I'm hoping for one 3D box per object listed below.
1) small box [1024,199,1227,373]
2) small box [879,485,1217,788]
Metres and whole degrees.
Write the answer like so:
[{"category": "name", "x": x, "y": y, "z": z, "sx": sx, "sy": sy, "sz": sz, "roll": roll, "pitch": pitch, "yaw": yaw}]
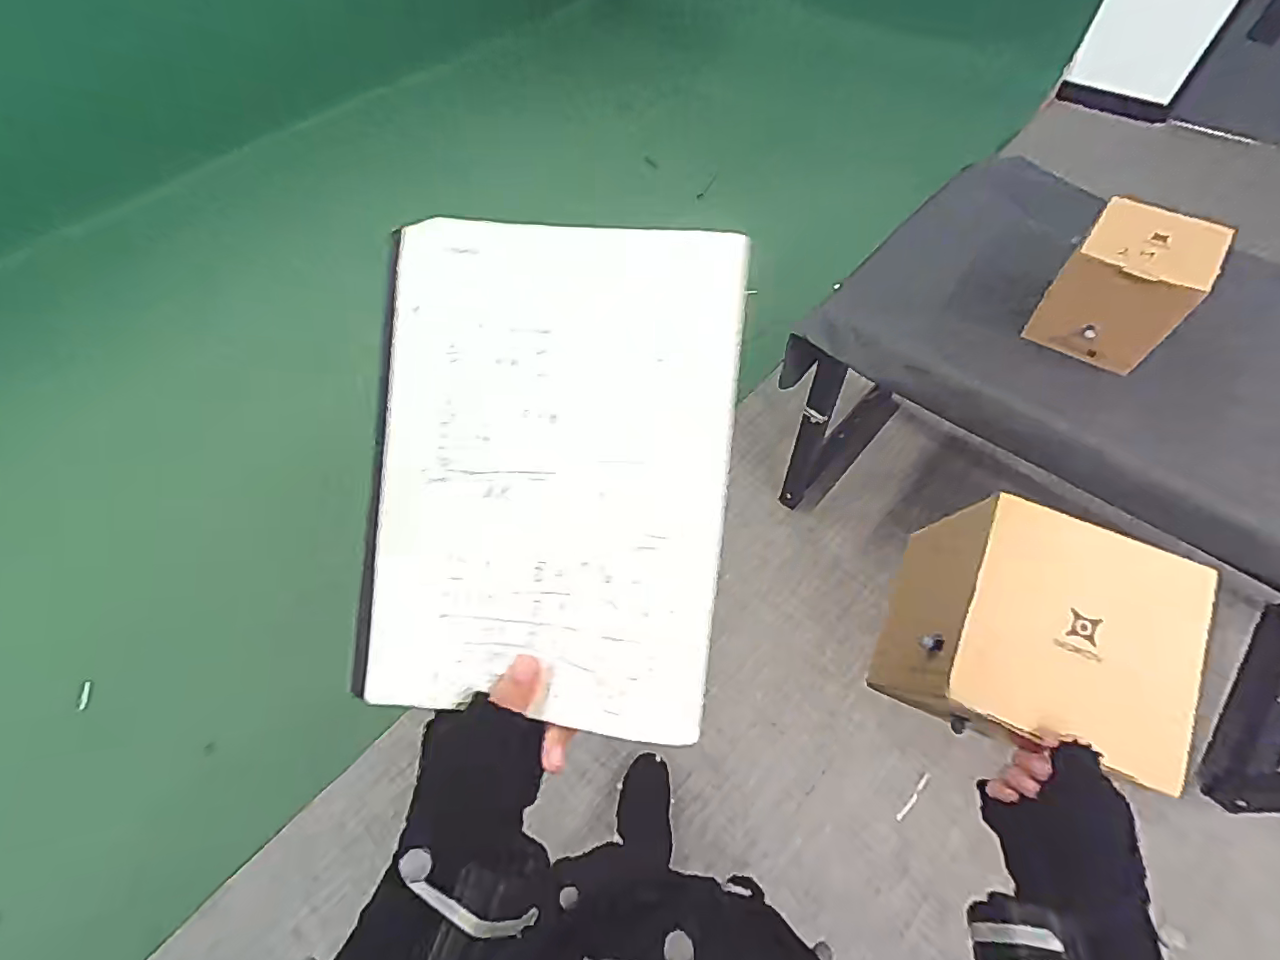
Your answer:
[{"category": "small box", "x": 0.768, "y": -0.310, "z": 0.873, "sx": 0.168, "sy": 0.176, "sz": 0.179, "roll": 33, "pitch": 66, "yaw": 22}, {"category": "small box", "x": 0.342, "y": 0.132, "z": 0.486, "sx": 0.168, "sy": 0.176, "sz": 0.179, "roll": 23, "pitch": 76, "yaw": 9}]
